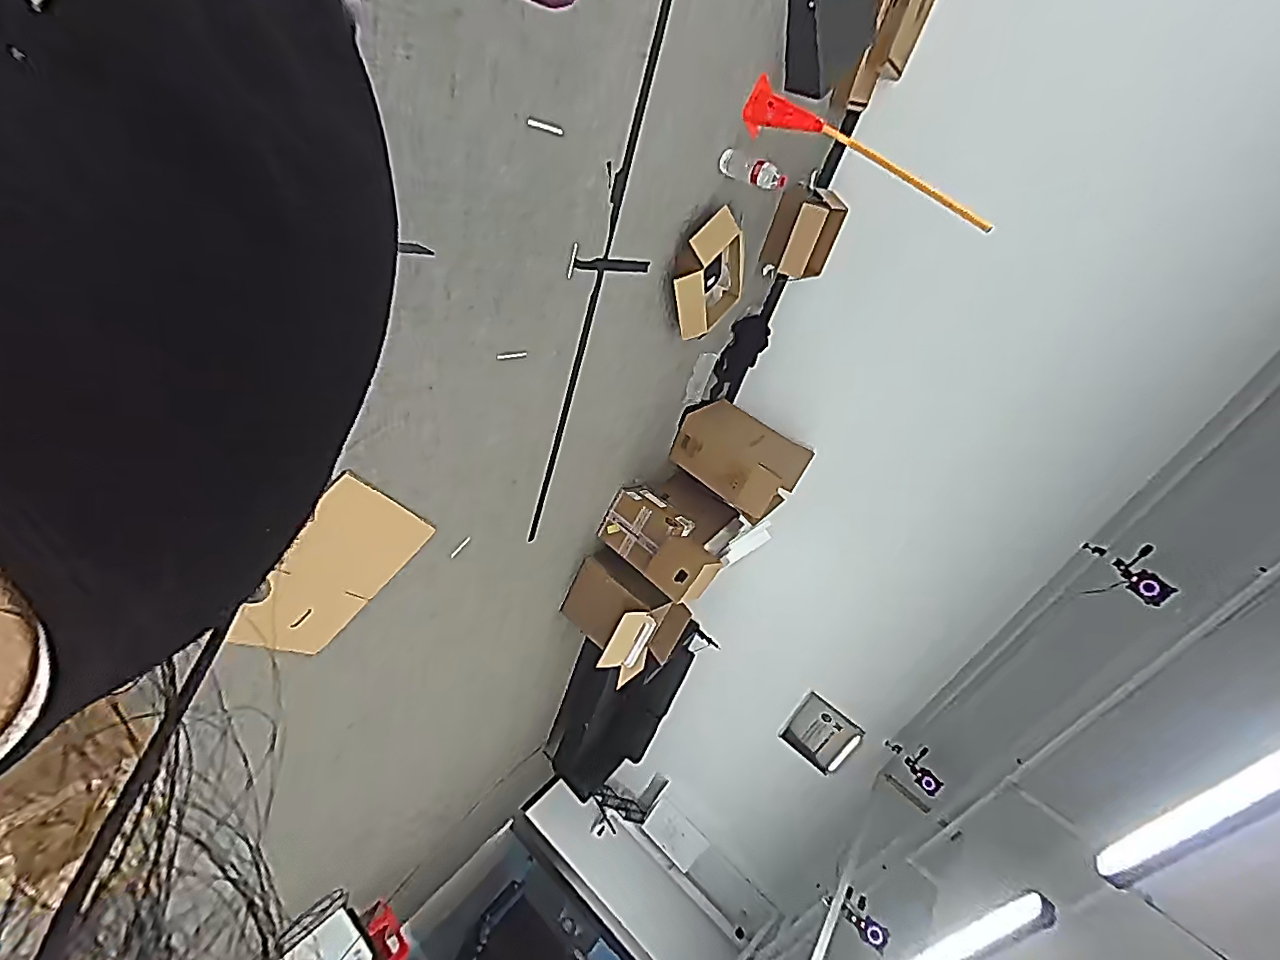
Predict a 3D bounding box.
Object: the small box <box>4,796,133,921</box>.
[{"bbox_3d":[-1.430,0.937,1.355,0.168,0.176,0.179,-28,145,-47],"label":"small box"}]
